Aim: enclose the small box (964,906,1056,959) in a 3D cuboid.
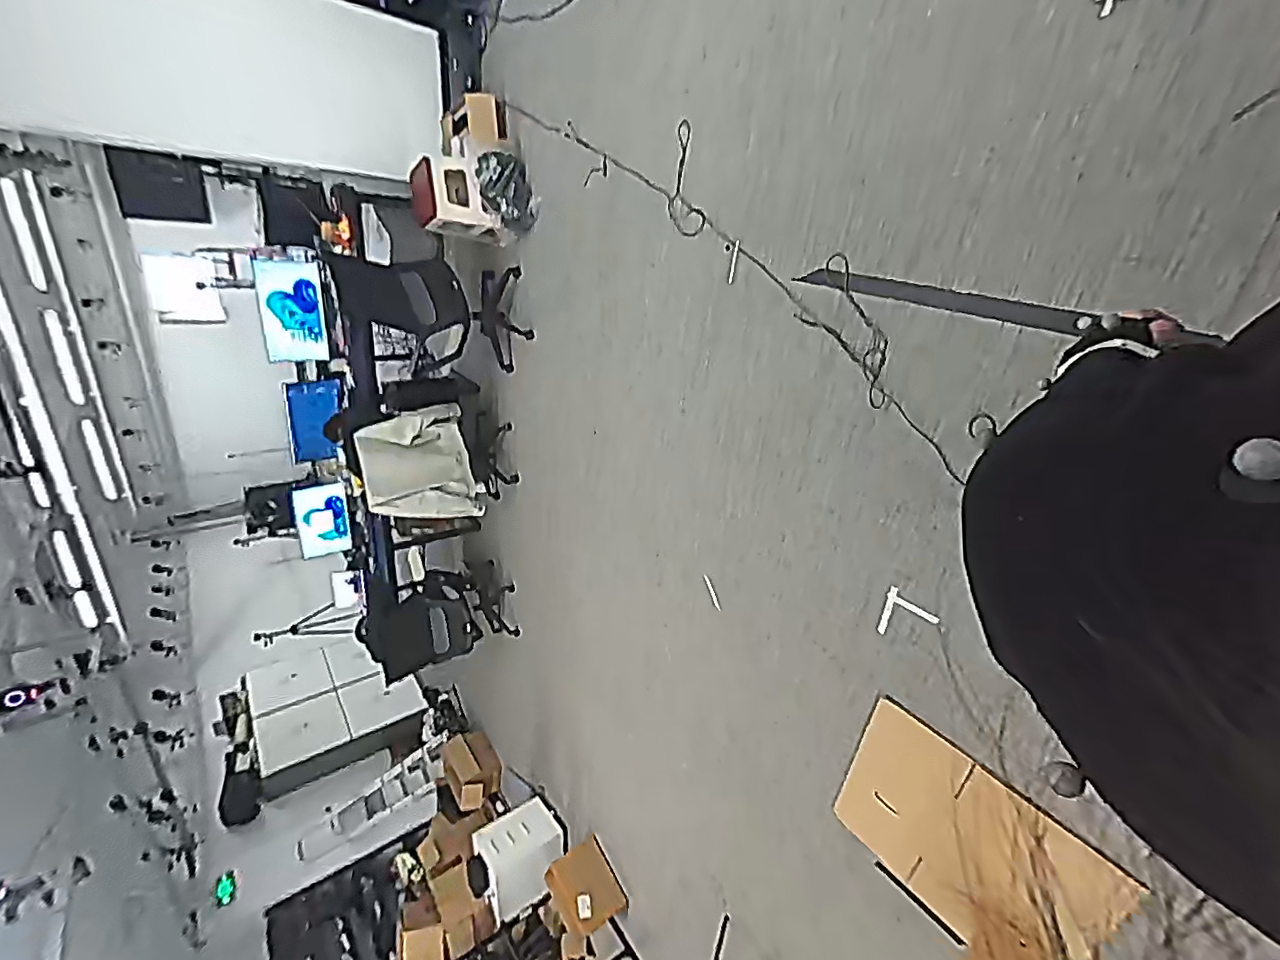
[{"bbox_3d":[1.018,1.354,1.498,0.168,0.176,0.179,21,117,47],"label":"small box"}]
